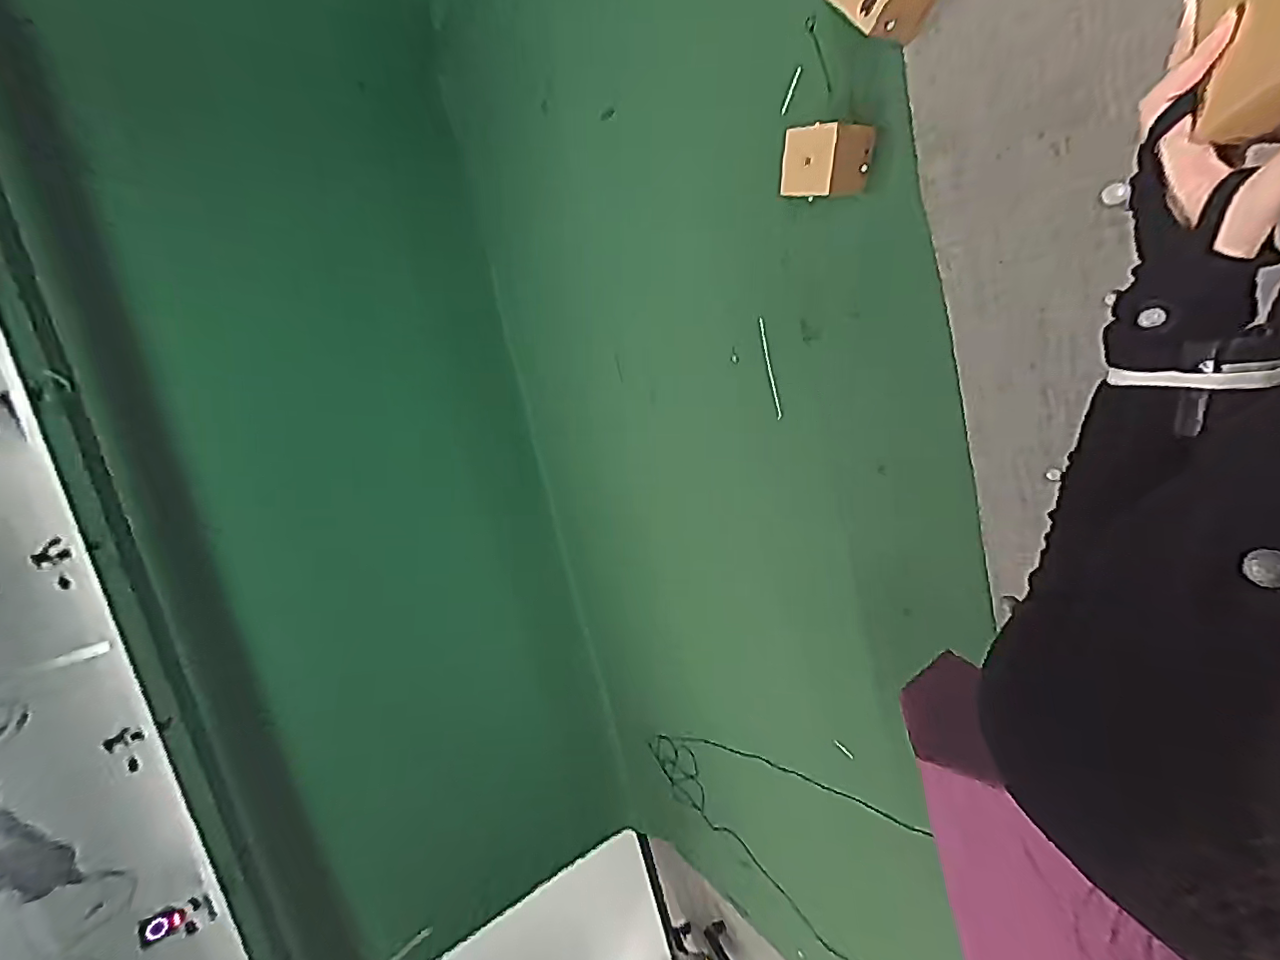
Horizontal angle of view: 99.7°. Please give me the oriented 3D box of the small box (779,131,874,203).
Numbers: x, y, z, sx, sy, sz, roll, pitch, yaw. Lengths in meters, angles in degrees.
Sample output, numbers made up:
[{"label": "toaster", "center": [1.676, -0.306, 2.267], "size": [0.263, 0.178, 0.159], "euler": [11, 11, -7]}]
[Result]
[{"label": "small box", "center": [0.524, -0.880, 1.528], "size": [0.179, 0.176, 0.168], "euler": [34, 132, 46]}]

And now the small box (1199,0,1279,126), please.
[{"label": "small box", "center": [0.393, -0.280, 0.219], "size": [0.168, 0.179, 0.176], "euler": [42, -128, -84]}]
